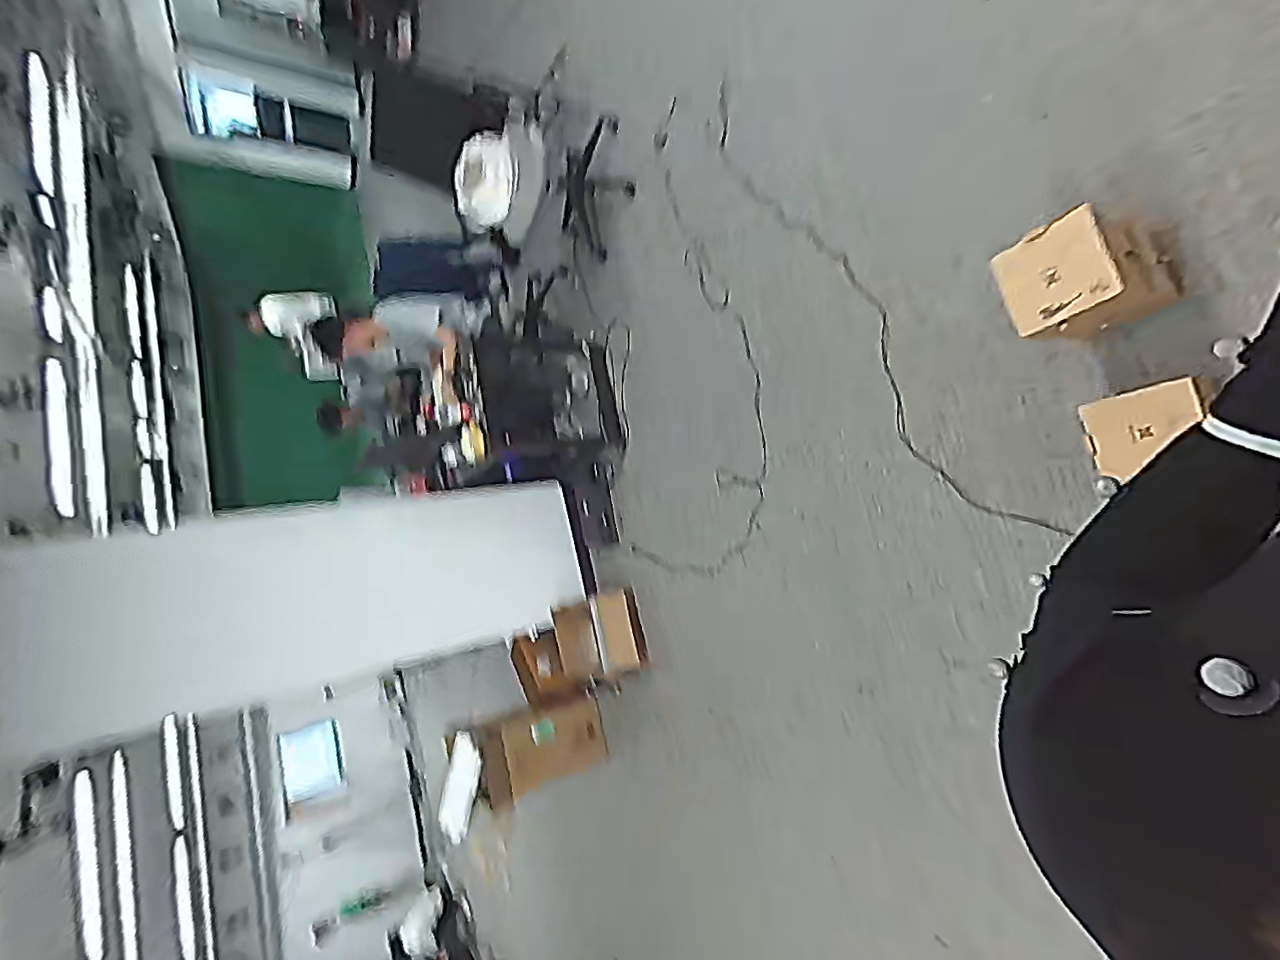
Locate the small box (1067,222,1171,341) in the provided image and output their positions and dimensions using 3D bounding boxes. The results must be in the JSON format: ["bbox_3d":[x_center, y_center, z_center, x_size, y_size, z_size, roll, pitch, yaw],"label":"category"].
[{"bbox_3d":[0.953,-0.404,1.135,0.179,0.176,0.168,-27,74,54],"label":"small box"}]

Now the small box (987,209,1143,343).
[{"bbox_3d":[0.818,-0.381,1.044,0.168,0.176,0.179,-28,72,55],"label":"small box"}]

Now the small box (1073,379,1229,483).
[{"bbox_3d":[1.025,-0.095,1.088,0.179,0.176,0.168,-21,79,55],"label":"small box"}]
